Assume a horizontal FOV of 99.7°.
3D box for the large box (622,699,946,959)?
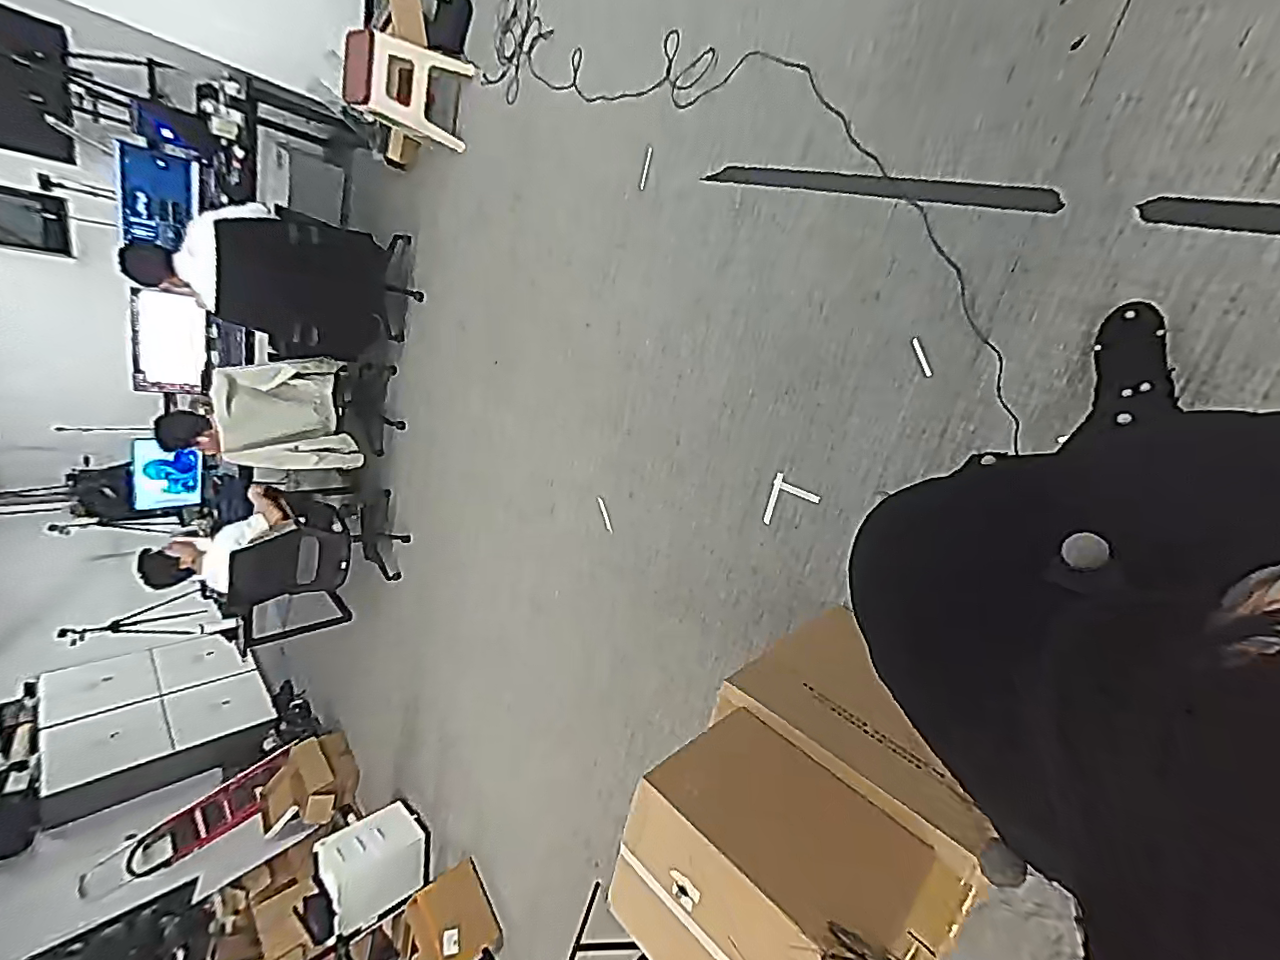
[{"bbox_3d":[0.235,0.670,0.938,0.408,0.320,0.320,27,112,39],"label":"large box"}]
